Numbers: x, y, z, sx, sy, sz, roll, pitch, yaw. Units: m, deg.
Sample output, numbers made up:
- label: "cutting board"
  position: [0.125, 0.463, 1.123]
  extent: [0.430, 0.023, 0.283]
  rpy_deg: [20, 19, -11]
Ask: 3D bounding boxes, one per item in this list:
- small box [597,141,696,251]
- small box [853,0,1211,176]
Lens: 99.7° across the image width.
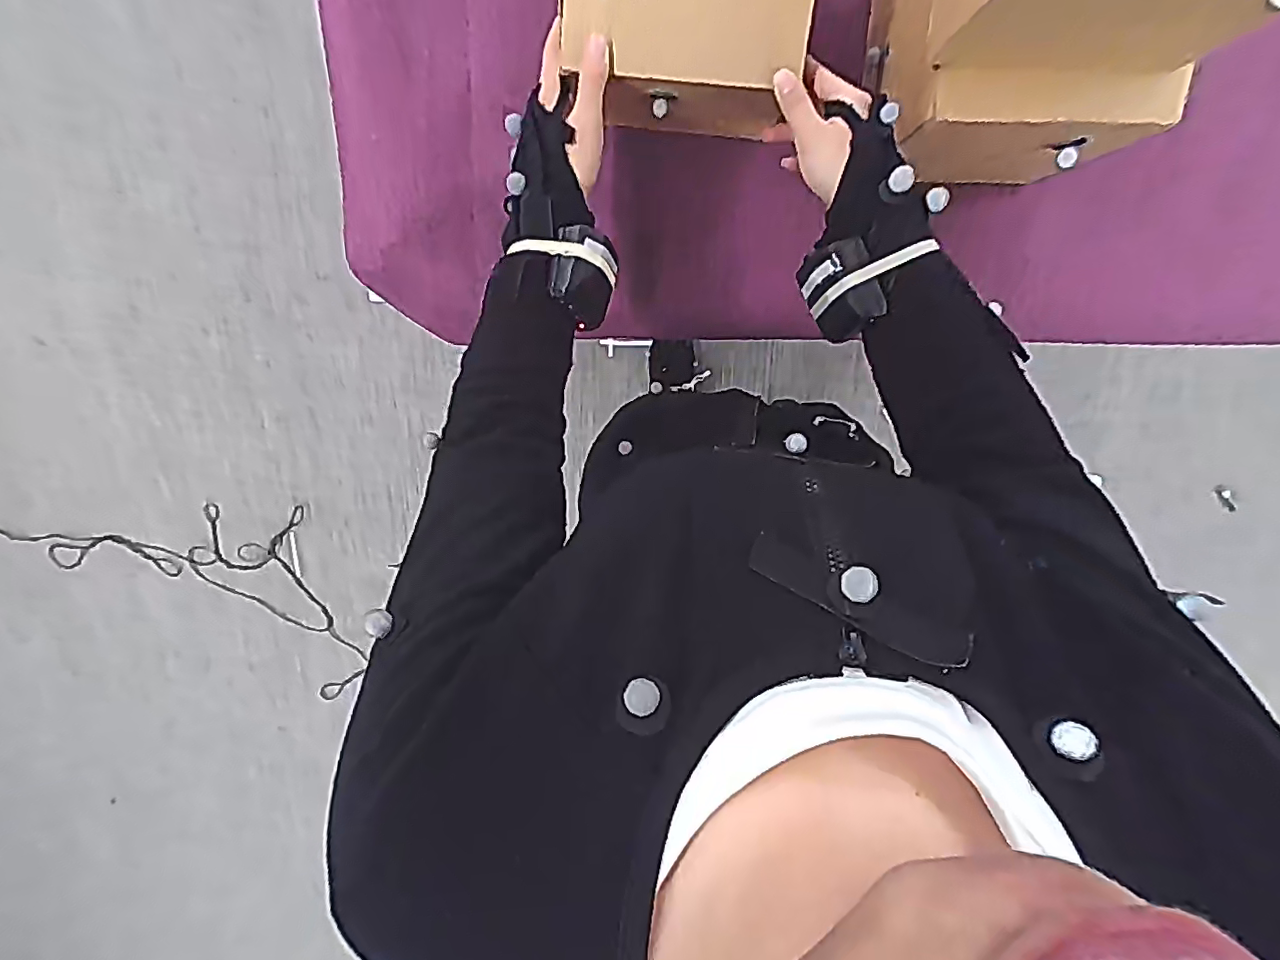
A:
- label: "small box"
  position: [0.012, -0.536, 1.037]
  extent: [0.179, 0.176, 0.168]
  rpy_deg: [1, 108, 2]
- label: "small box"
  position: [0.296, -0.358, 0.432]
  extent: [0.179, 0.176, 0.168]
  rpy_deg: [2, 105, 1]
